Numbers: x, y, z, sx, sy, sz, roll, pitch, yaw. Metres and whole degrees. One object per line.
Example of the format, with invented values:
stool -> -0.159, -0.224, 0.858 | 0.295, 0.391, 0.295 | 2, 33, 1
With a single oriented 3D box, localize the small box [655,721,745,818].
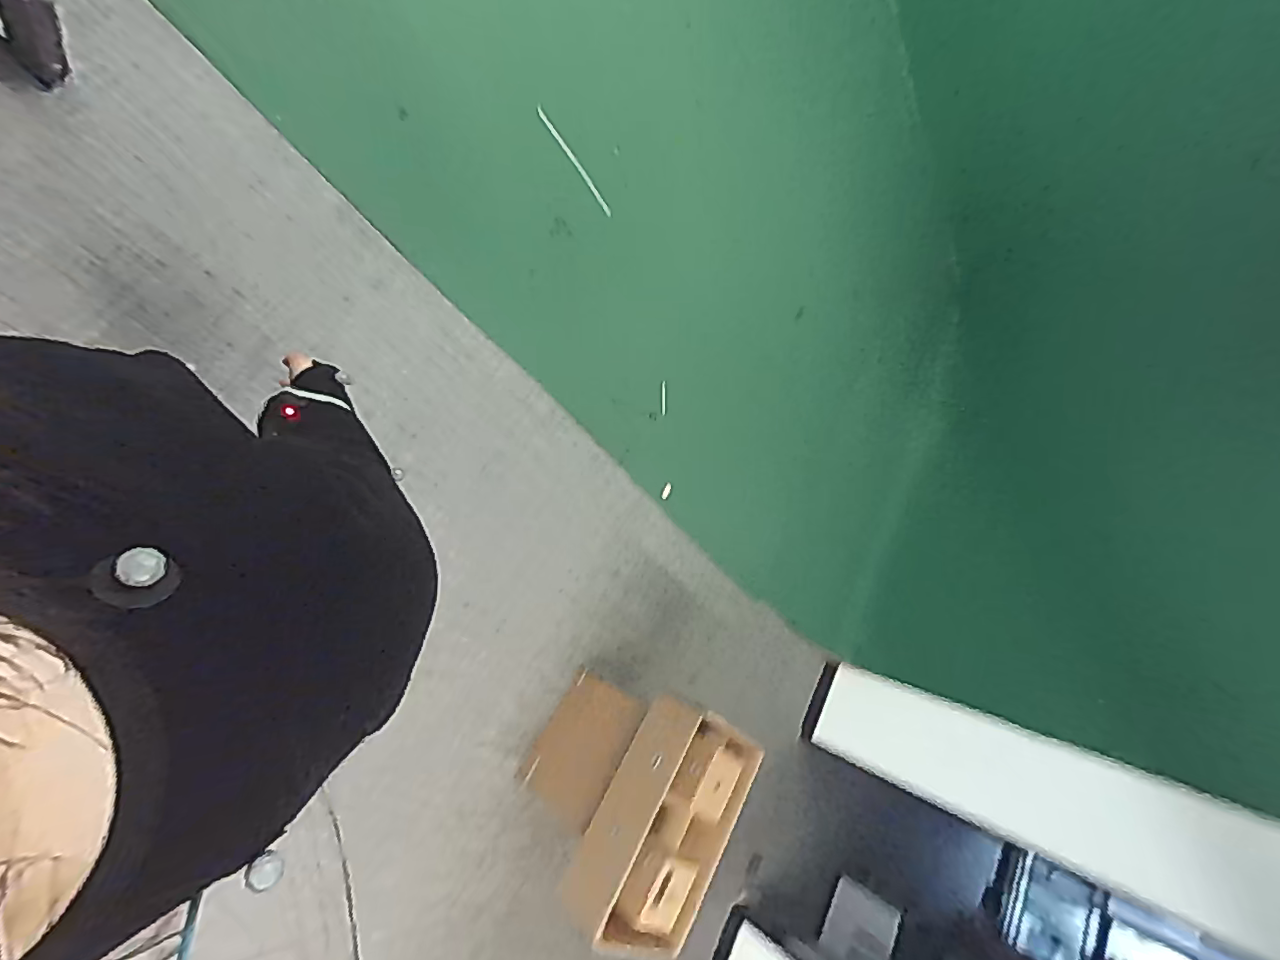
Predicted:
small box -> 0.175, 0.849, 1.599 | 0.168, 0.176, 0.179 | 48, 66, -35
